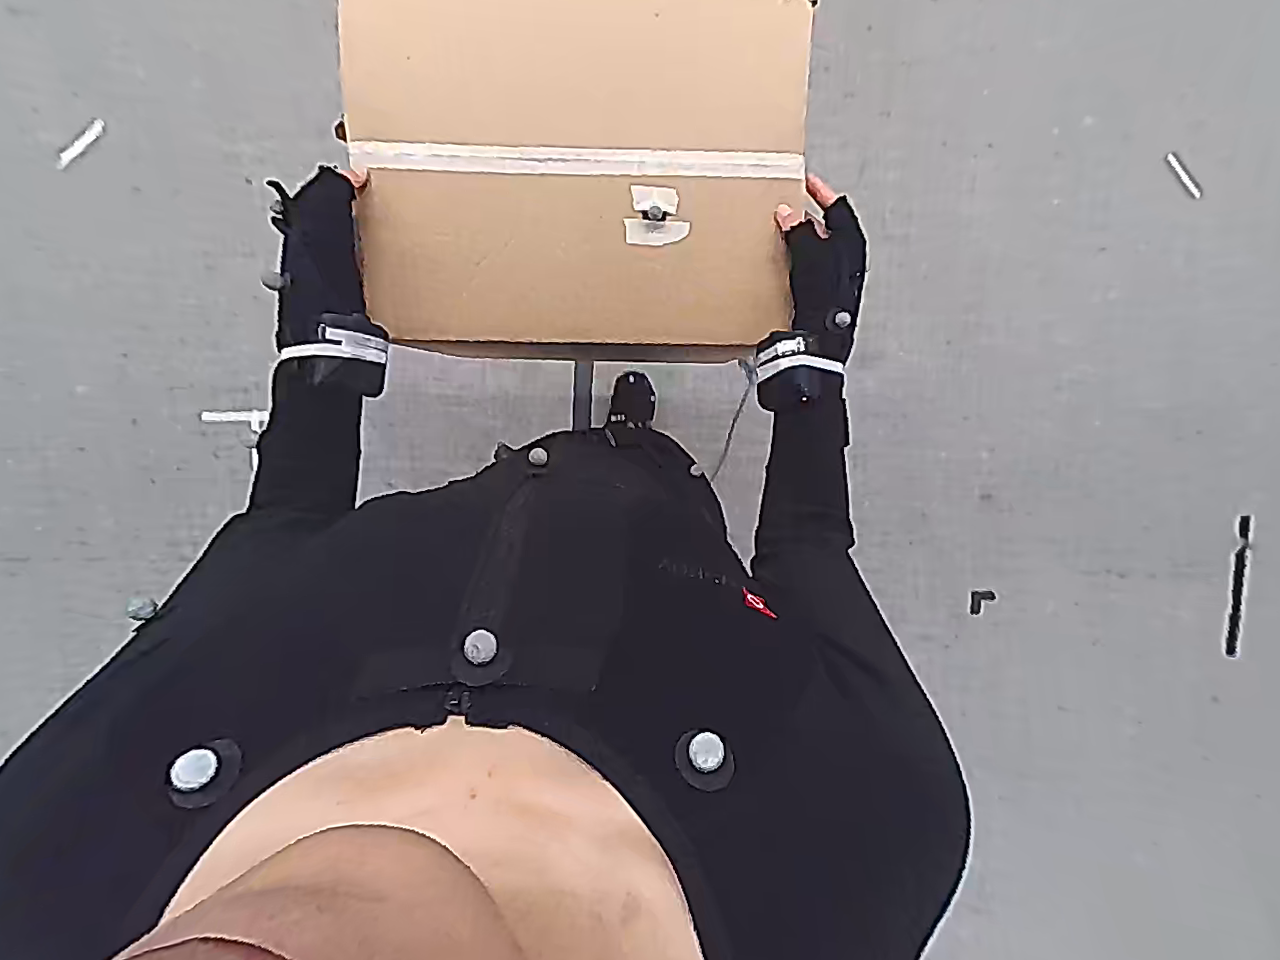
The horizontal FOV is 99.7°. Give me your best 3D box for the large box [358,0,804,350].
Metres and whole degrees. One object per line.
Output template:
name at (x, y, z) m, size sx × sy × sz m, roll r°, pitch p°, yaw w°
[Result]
large box at (-0.058, -0.326, 0.648) m, size 0.408 × 0.320 × 0.320 m, roll 0°, pitch 100°, yaw -3°
